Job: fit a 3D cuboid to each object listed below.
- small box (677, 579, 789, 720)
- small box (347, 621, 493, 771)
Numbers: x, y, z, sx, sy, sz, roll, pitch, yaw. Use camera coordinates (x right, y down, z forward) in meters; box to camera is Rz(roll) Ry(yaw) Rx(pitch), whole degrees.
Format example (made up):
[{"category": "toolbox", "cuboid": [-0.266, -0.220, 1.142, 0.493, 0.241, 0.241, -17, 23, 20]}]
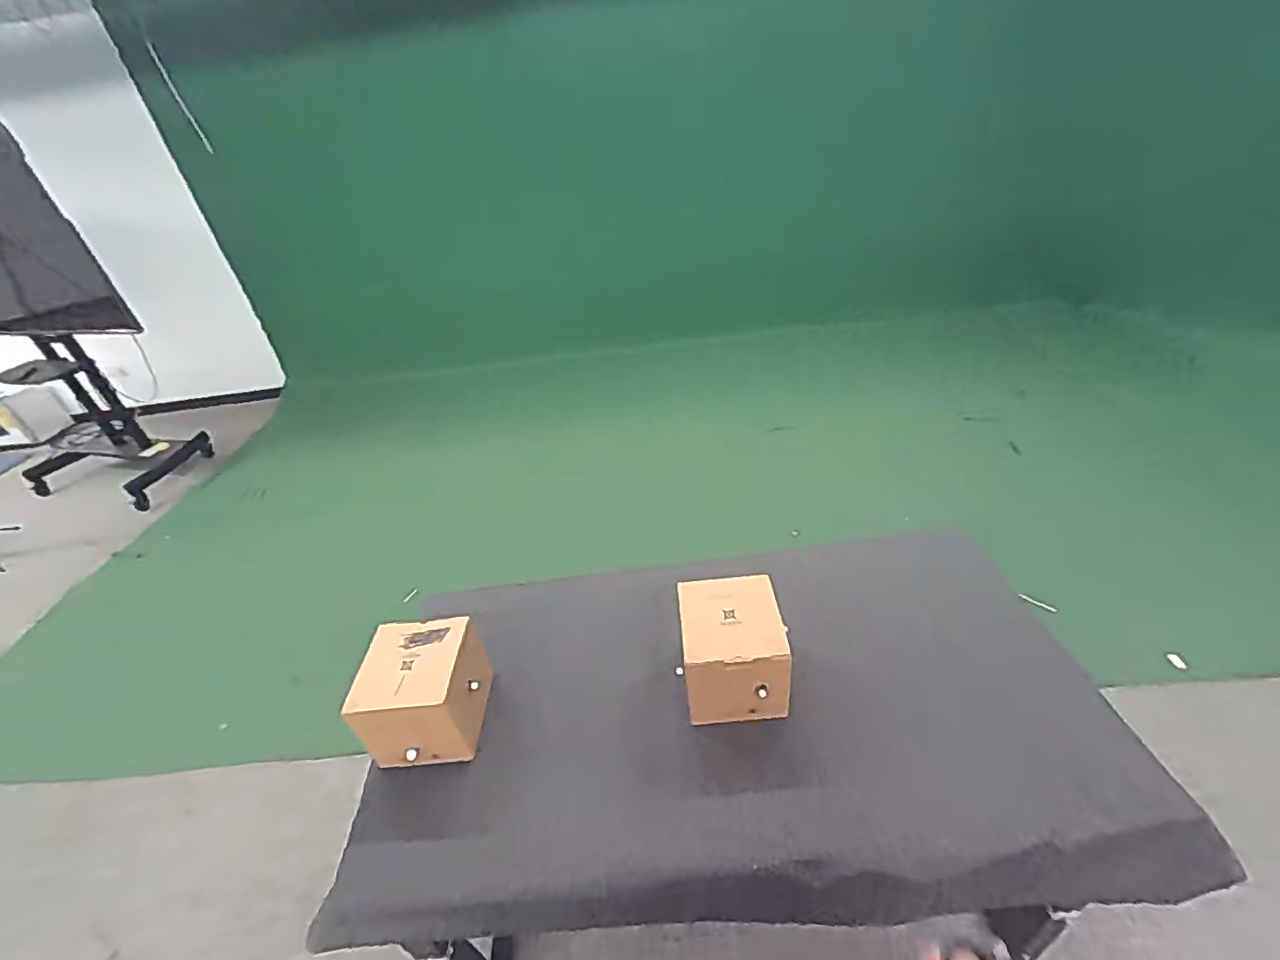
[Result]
[{"category": "small box", "cuboid": [0.158, 0.301, 0.949, 0.168, 0.176, 0.179, -6, 34, 1]}, {"category": "small box", "cuboid": [-0.368, 0.375, 0.945, 0.168, 0.176, 0.179, -7, 36, 2]}]
